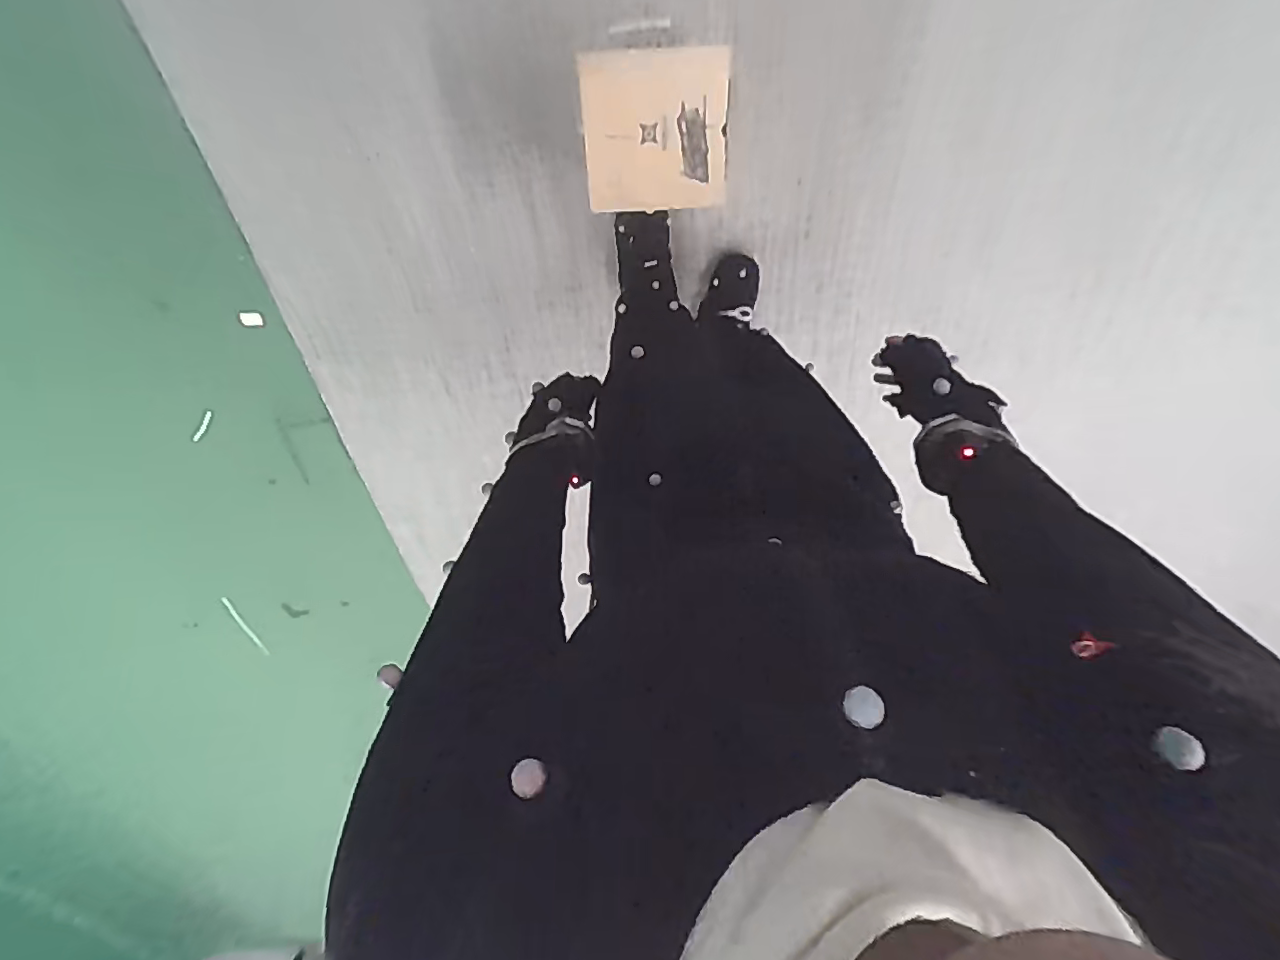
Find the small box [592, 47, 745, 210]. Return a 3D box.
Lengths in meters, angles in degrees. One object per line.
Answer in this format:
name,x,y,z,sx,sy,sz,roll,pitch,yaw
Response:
small box,0.031,-0.463,0.716,0.179,0.176,0.168,0,124,0
